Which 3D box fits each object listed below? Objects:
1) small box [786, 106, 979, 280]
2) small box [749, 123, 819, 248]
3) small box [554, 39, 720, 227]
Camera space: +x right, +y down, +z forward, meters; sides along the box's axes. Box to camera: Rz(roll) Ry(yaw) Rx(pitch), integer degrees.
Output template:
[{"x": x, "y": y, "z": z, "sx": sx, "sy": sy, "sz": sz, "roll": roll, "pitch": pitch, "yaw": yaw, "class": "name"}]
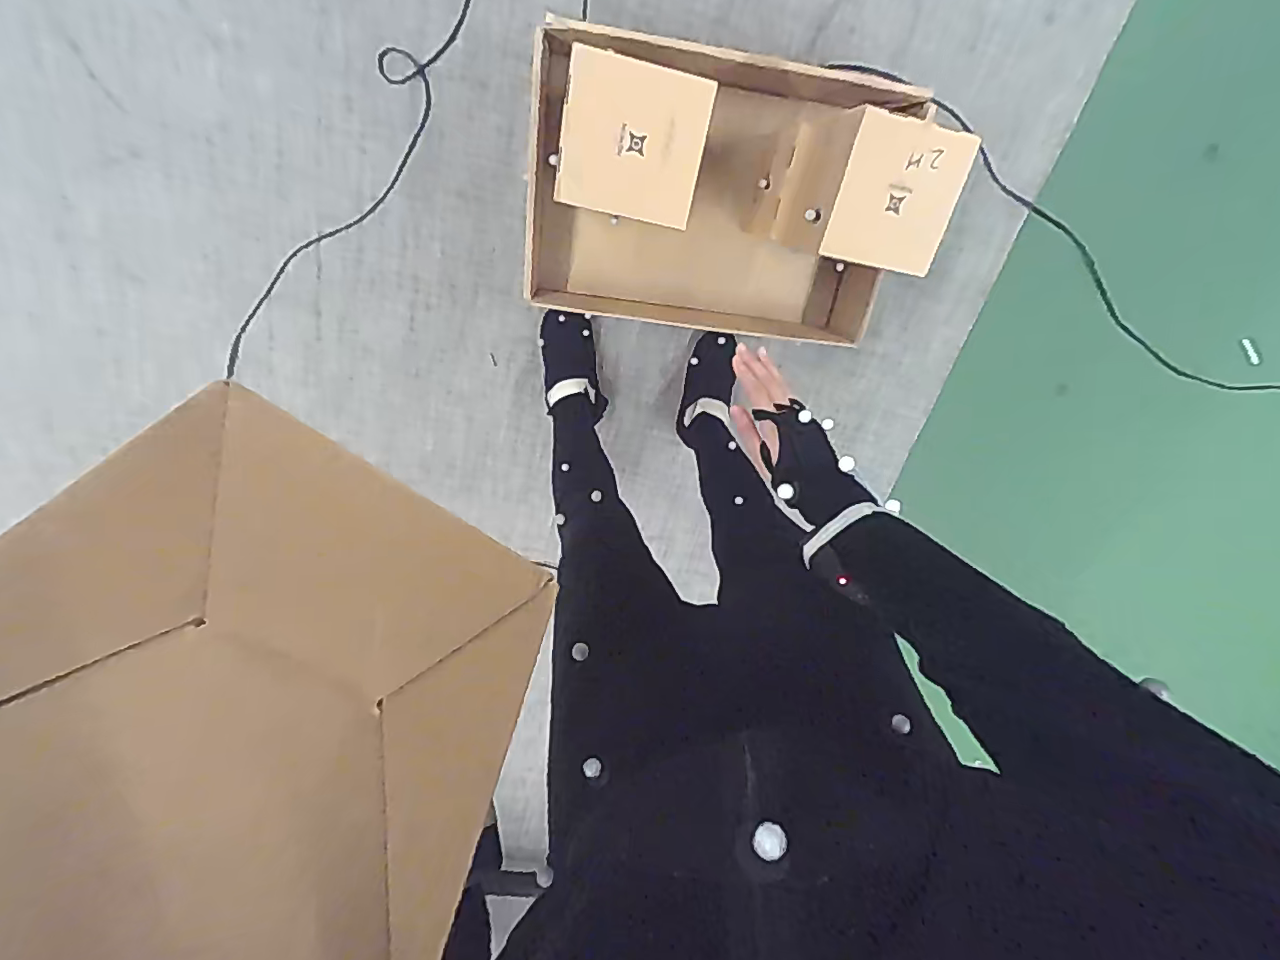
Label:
[{"x": 0.331, "y": -0.407, "z": 0.783, "sx": 0.168, "sy": 0.176, "sz": 0.179, "roll": 9, "pitch": 115, "yaw": -11, "class": "small box"}, {"x": 0.303, "y": -0.485, "z": 0.927, "sx": 0.179, "sy": 0.176, "sz": 0.168, "roll": 9, "pitch": 116, "yaw": -9, "class": "small box"}, {"x": -0.013, "y": -0.452, "z": 0.731, "sx": 0.179, "sy": 0.176, "sz": 0.168, "roll": 9, "pitch": 117, "yaw": -10, "class": "small box"}]
